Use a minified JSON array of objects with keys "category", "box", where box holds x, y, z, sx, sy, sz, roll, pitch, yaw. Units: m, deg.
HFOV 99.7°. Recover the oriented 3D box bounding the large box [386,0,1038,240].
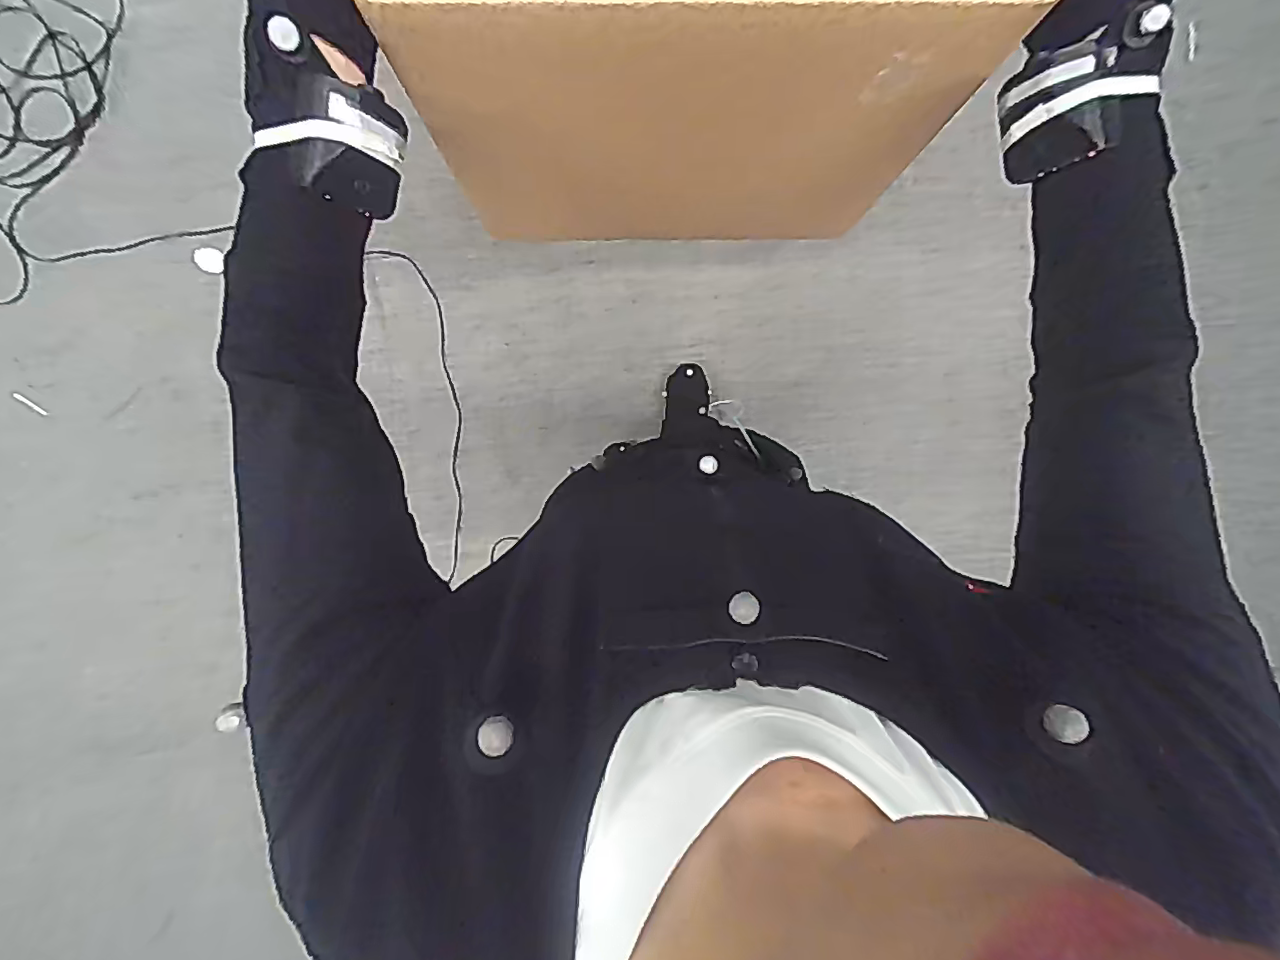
[{"category":"large box","box":[0.034,-0.429,0.468,0.408,0.320,0.320,-2,91,-3]}]
